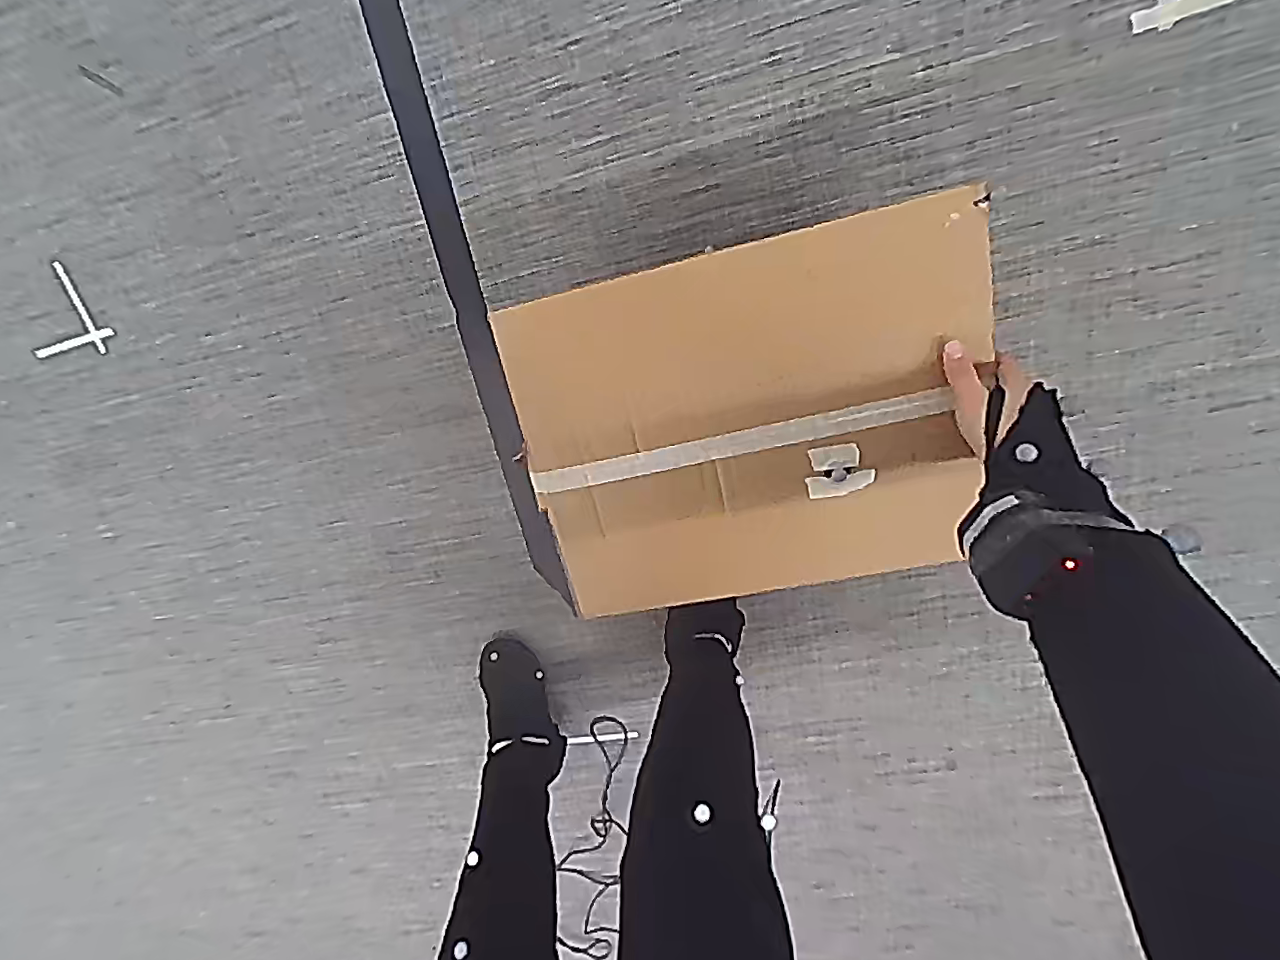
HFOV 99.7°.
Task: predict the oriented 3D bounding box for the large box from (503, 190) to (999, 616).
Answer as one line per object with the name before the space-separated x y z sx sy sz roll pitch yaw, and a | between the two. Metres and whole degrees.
large box | 0.115 -0.085 0.628 0.408 0.320 0.320 -12 107 9
